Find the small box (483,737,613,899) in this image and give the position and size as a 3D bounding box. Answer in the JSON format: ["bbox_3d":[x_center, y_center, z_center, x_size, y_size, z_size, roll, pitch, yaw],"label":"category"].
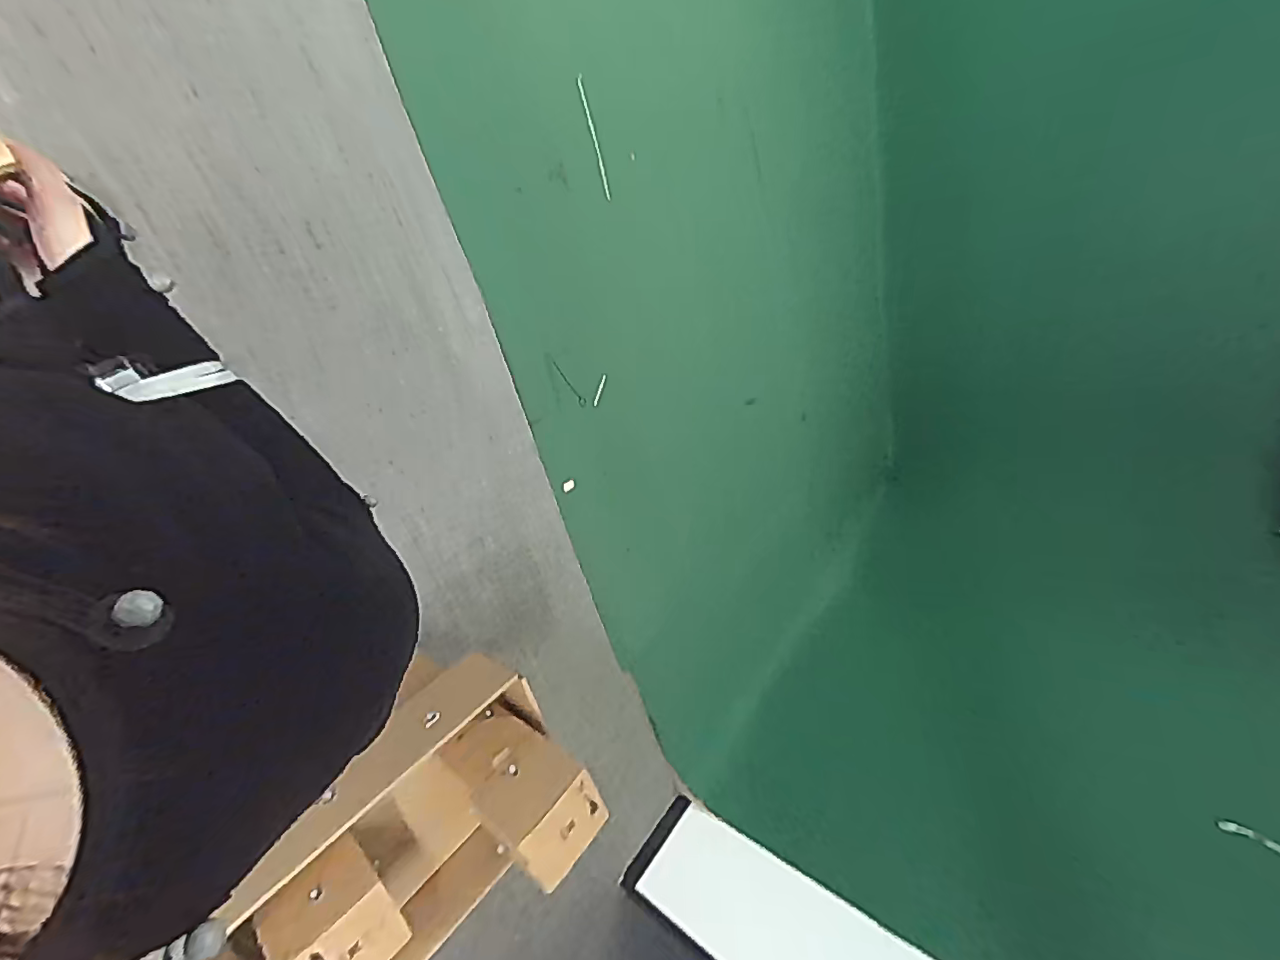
[{"bbox_3d":[-0.187,0.659,1.073,0.179,0.176,0.168,-37,122,-36],"label":"small box"}]
